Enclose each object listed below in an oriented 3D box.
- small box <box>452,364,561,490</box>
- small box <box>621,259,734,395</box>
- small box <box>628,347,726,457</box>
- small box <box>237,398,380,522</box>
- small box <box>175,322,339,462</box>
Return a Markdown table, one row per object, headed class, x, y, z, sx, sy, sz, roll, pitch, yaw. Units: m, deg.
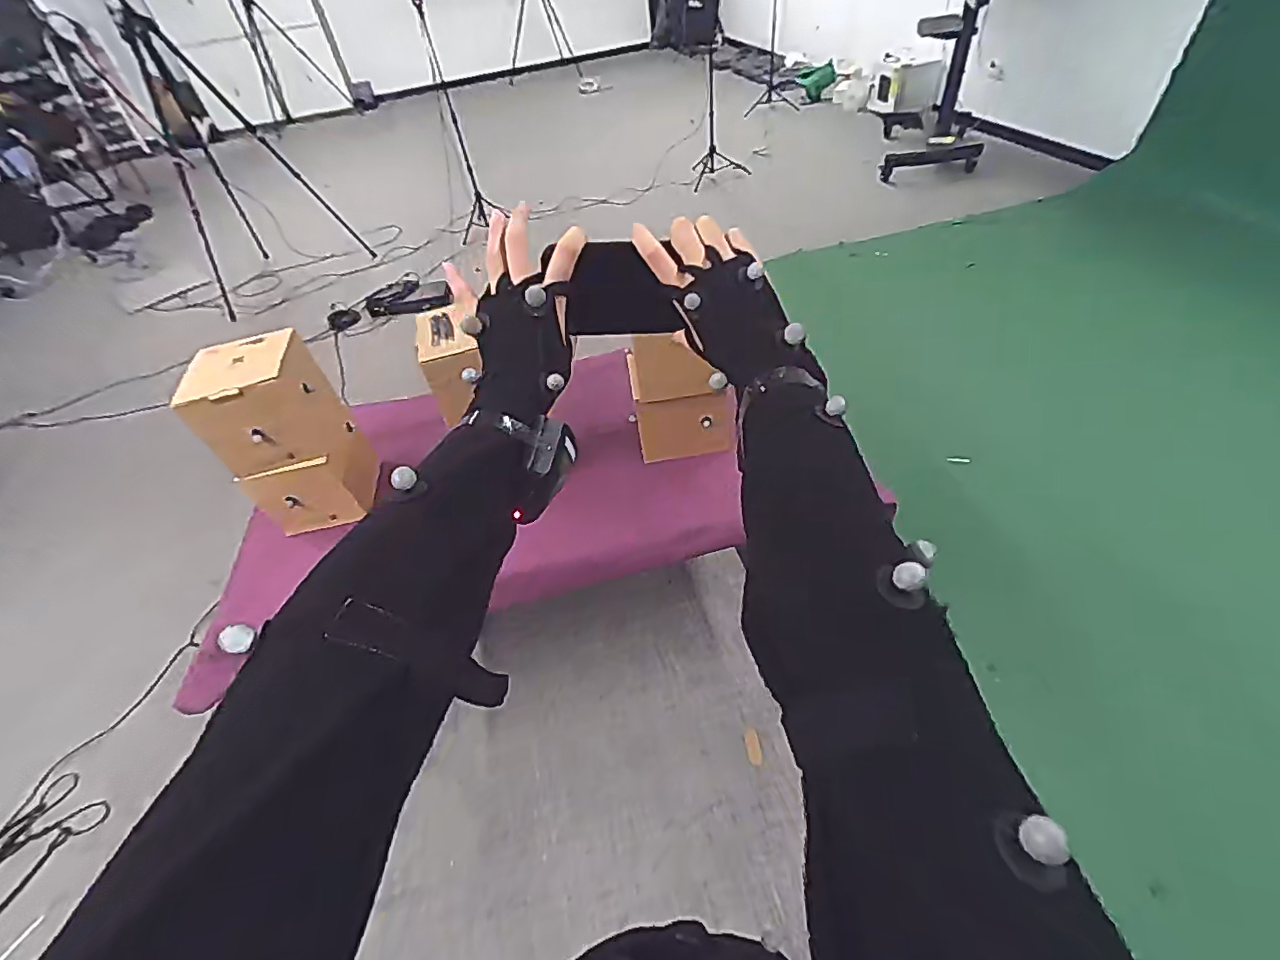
| class | x | y | z | sx | sy | sz | roll | pitch | yaw |
| --- | --- | --- | --- | --- | --- | --- | --- | --- | --- |
| small box | -0.260 | -0.104 | 1.086 | 0.179 | 0.176 | 0.168 | -13 | 47 | -3 |
| small box | 0.067 | -0.269 | 0.967 | 0.179 | 0.176 | 0.168 | -8 | 46 | 0 |
| small box | 0.074 | -0.167 | 1.096 | 0.179 | 0.176 | 0.168 | -8 | 46 | 2 |
| small box | -0.645 | -0.033 | 1.080 | 0.168 | 0.176 | 0.179 | -12 | 47 | -3 |
| small box | -0.665 | -0.150 | 0.967 | 0.168 | 0.176 | 0.179 | -15 | 48 | -7 |
